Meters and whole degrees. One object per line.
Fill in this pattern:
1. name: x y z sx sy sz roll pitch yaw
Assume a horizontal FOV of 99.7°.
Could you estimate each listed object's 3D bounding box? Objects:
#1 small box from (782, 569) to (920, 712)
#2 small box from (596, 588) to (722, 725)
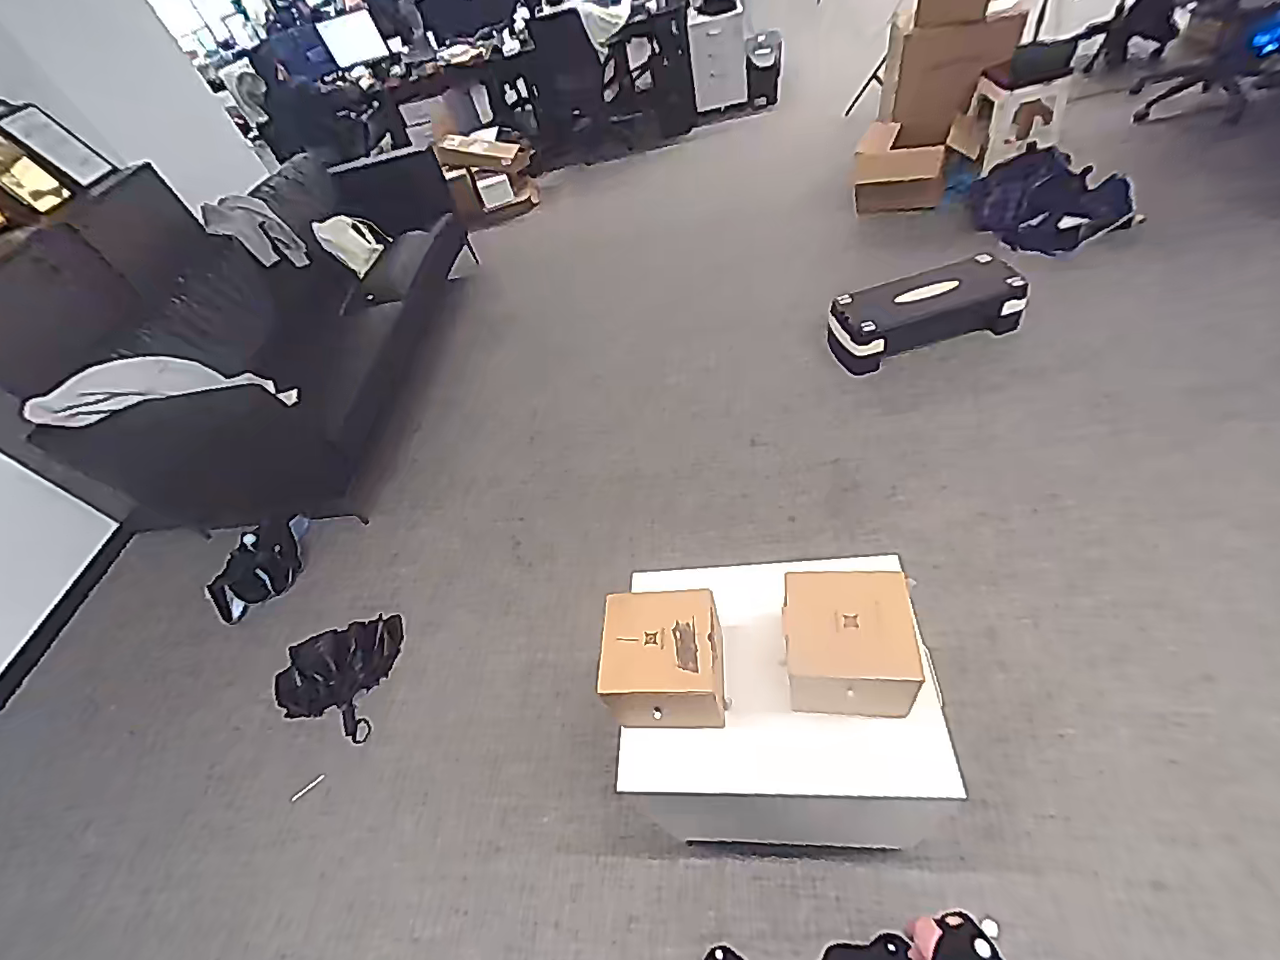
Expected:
1. small box: 0.317 0.252 0.844 0.179 0.176 0.168 -3 52 14
2. small box: 0.042 0.293 0.890 0.179 0.176 0.168 -6 49 13
